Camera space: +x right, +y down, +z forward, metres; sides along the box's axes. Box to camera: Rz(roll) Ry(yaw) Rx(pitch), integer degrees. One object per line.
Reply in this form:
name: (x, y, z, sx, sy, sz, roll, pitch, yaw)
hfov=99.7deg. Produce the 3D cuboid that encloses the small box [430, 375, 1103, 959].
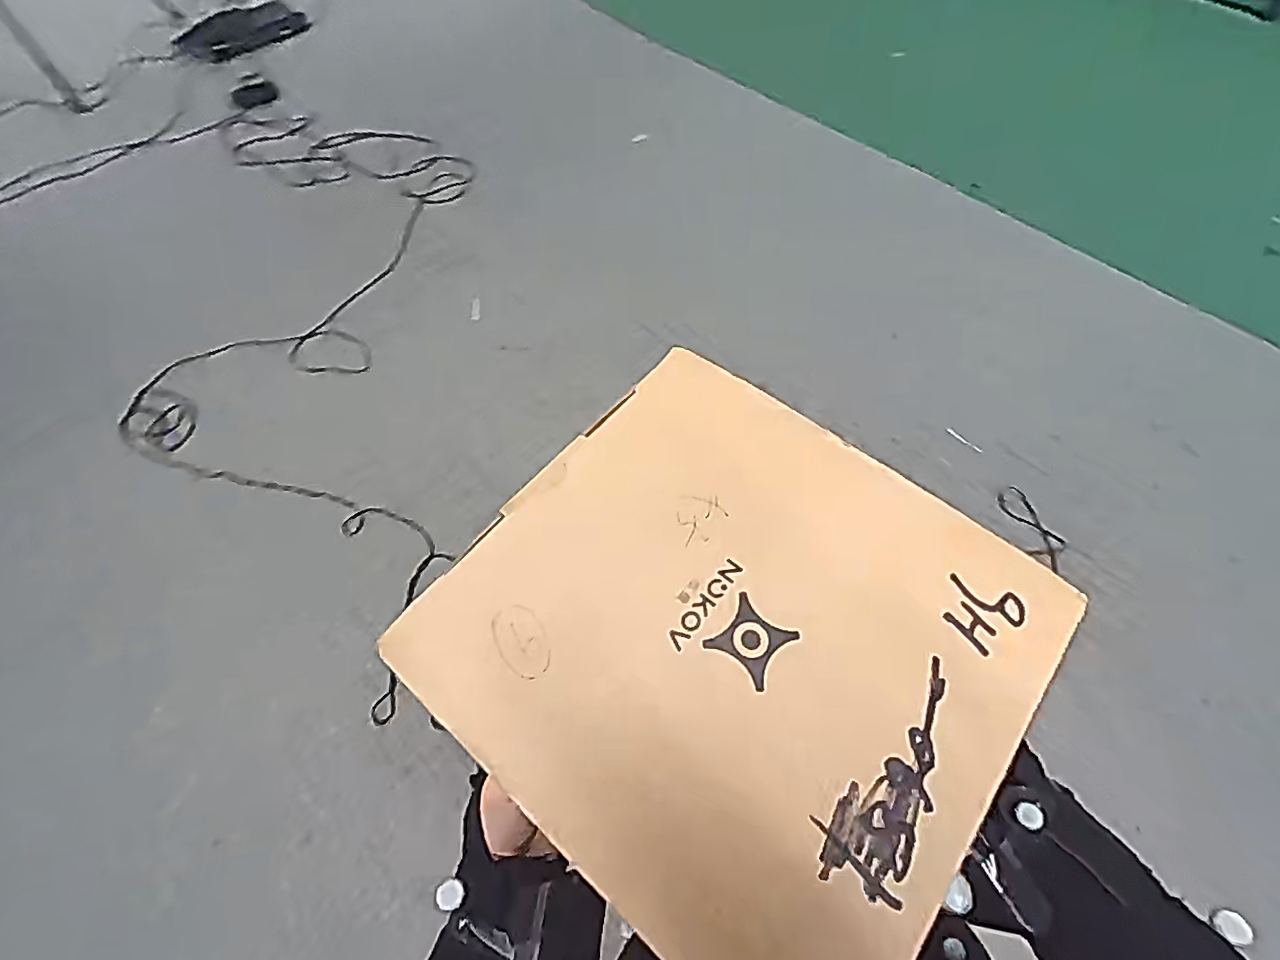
small box: (0.044, 0.092, 0.257, 0.179, 0.176, 0.168, 37, 70, 19)
